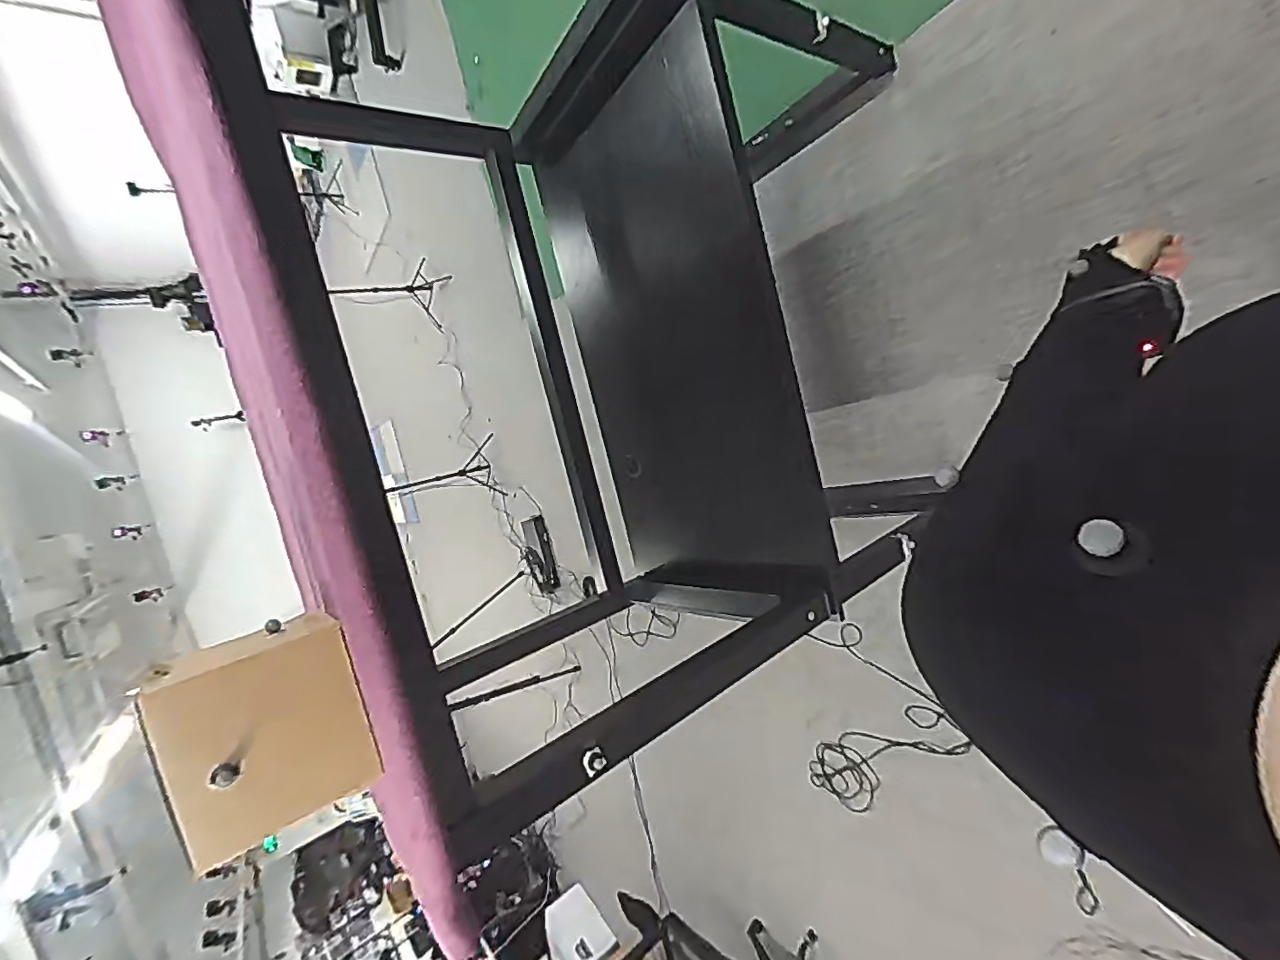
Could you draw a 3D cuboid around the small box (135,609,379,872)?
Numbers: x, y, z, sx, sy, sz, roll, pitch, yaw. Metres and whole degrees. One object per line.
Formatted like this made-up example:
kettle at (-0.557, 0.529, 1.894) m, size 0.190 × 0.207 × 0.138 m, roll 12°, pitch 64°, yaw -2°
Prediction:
small box at (-0.406, 0.261, 0.594) m, size 0.168 × 0.176 × 0.179 m, roll -10°, pitch 96°, yaw 52°
